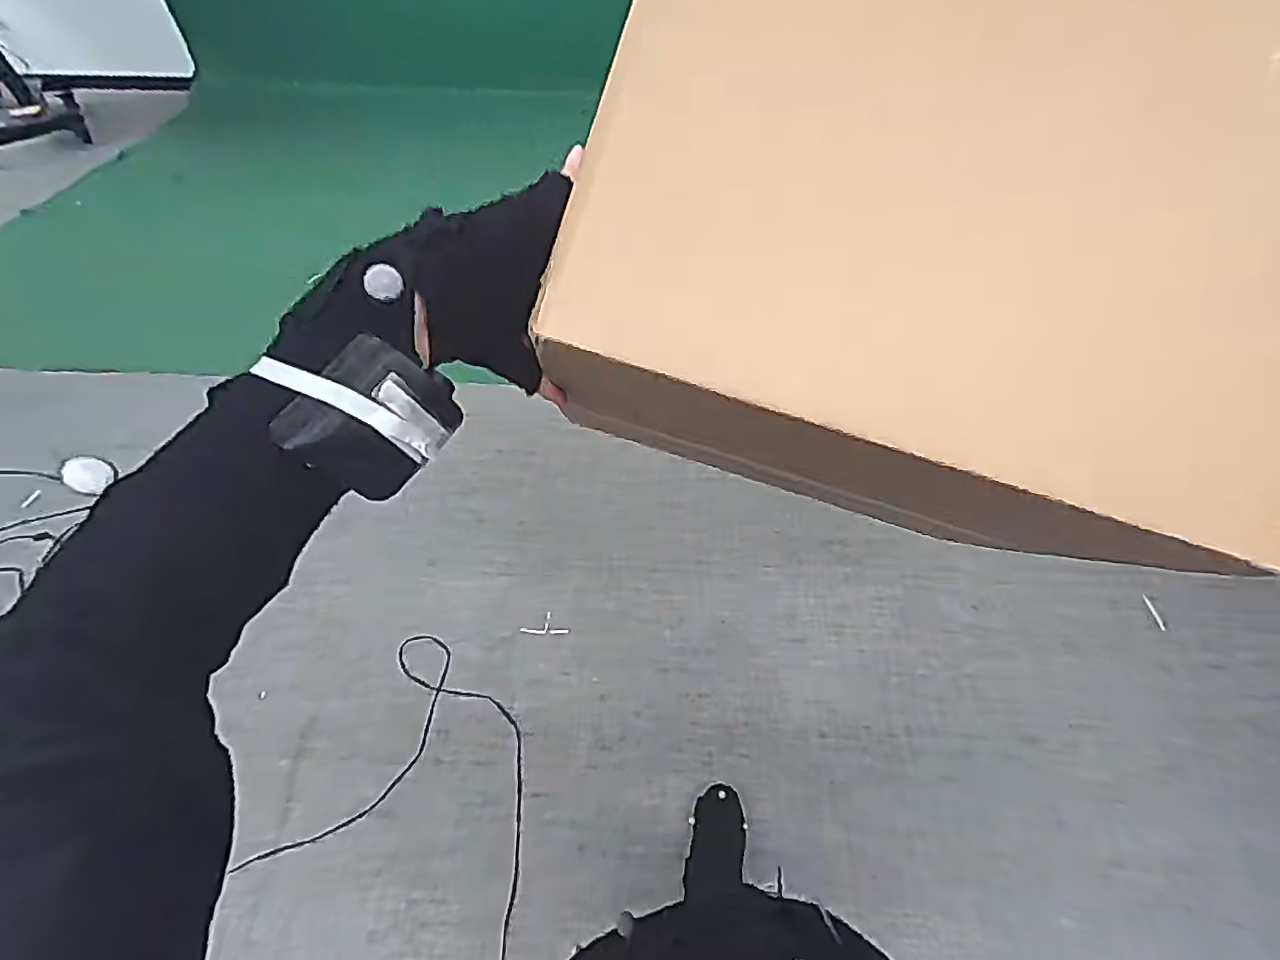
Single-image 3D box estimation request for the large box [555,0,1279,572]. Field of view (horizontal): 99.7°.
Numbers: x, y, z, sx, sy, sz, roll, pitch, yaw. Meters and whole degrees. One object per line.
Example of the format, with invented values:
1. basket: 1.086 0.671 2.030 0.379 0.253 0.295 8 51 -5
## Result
1. large box: 0.176 -0.147 0.435 0.408 0.320 0.320 18 87 -2
